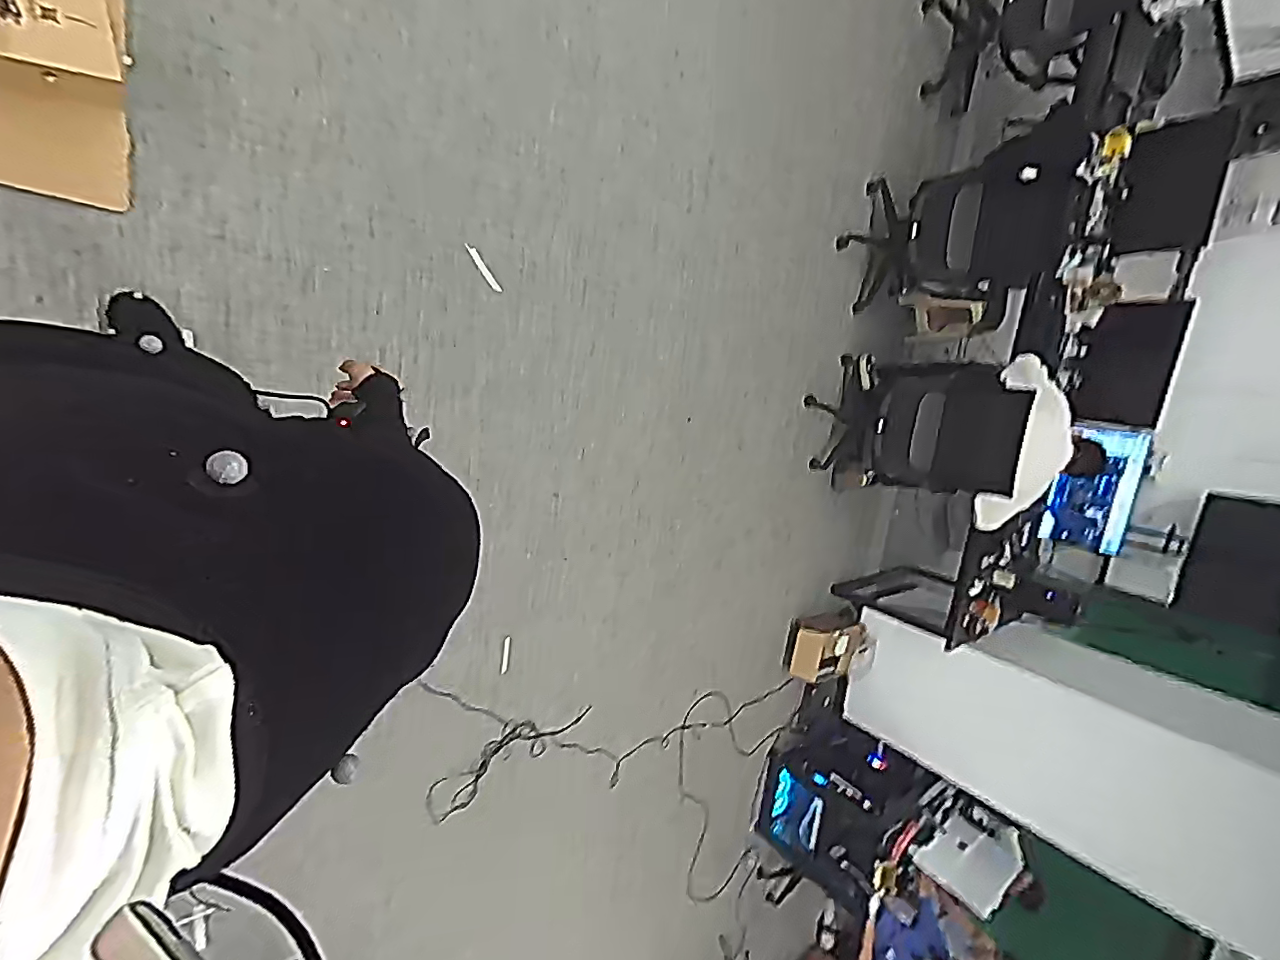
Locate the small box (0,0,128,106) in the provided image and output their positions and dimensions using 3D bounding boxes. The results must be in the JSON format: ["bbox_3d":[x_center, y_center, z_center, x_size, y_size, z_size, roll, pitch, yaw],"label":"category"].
[{"bbox_3d":[-1.053,-0.800,0.963,0.179,0.176,0.168,-11,109,-38],"label":"small box"}]
